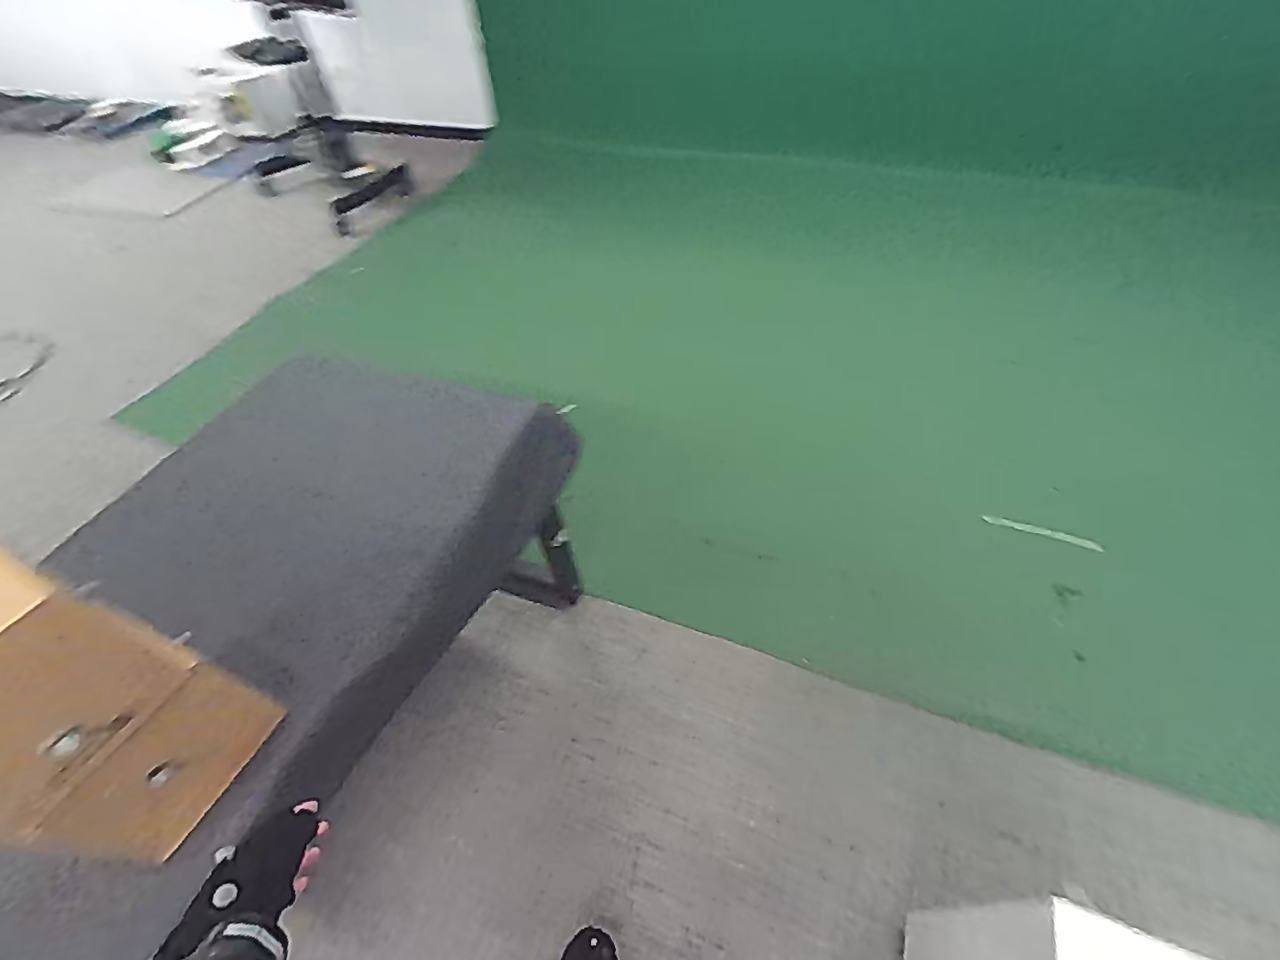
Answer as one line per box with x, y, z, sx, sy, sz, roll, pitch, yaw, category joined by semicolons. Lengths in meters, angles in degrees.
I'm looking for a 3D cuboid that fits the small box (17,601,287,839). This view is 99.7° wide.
-0.558;0.274;0.612;0.168;0.176;0.179;17;55;19;small box

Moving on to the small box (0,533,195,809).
-0.576;0.167;0.488;0.179;0.176;0.168;15;53;21;small box
